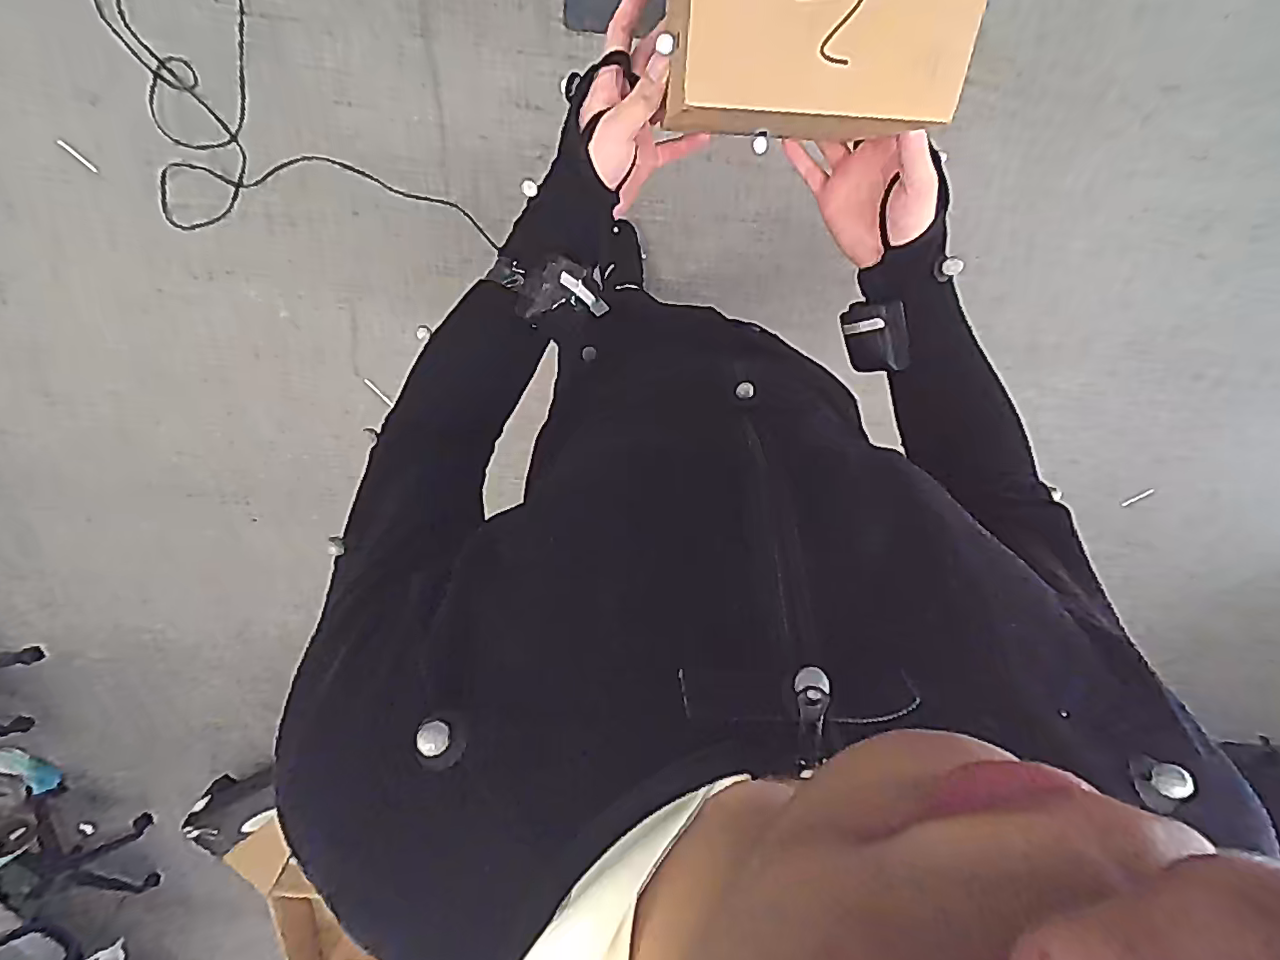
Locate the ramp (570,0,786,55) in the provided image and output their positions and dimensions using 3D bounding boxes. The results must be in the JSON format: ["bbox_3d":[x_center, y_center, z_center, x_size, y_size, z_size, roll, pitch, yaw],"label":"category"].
[{"bbox_3d":[0.122,-1.436,0.999,0.509,0.206,0.991,2,113,-3],"label":"ramp"}]
